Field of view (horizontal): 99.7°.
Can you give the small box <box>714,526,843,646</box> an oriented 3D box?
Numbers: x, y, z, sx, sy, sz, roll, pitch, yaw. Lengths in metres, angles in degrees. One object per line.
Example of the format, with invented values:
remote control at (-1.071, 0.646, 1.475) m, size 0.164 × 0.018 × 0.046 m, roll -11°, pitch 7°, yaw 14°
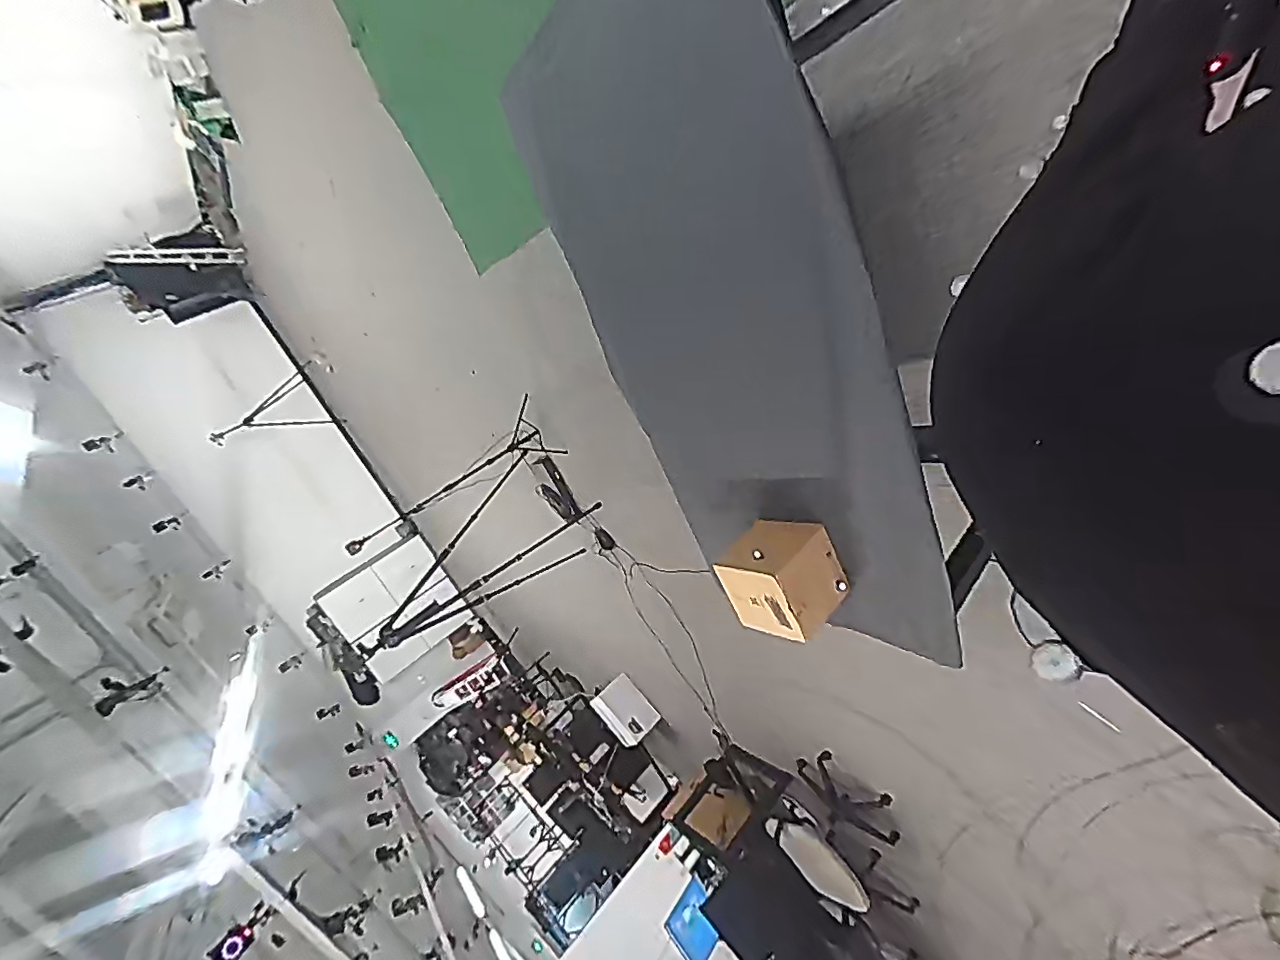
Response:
small box at (0.292, 0.208, 1.115) m, size 0.179 × 0.176 × 0.168 m, roll -2°, pitch 120°, yaw 57°
